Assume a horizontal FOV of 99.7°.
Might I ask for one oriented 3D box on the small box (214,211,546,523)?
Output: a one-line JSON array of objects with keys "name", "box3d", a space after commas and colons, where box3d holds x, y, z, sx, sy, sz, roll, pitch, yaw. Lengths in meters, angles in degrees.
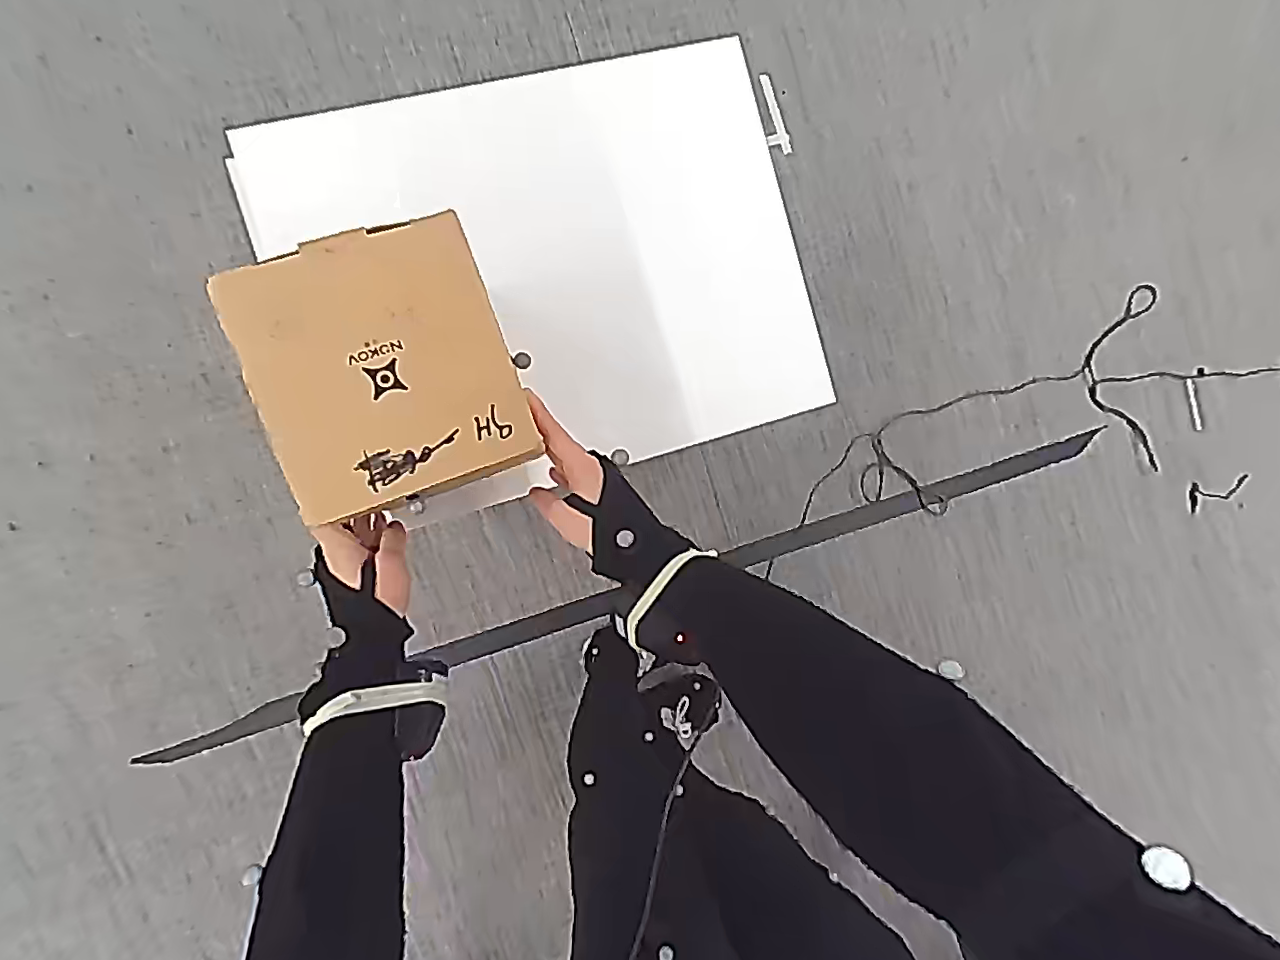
[{"name": "small box", "box3d": [-0.183, -0.077, 0.440, 0.168, 0.176, 0.179, -20, 93, -9]}]
